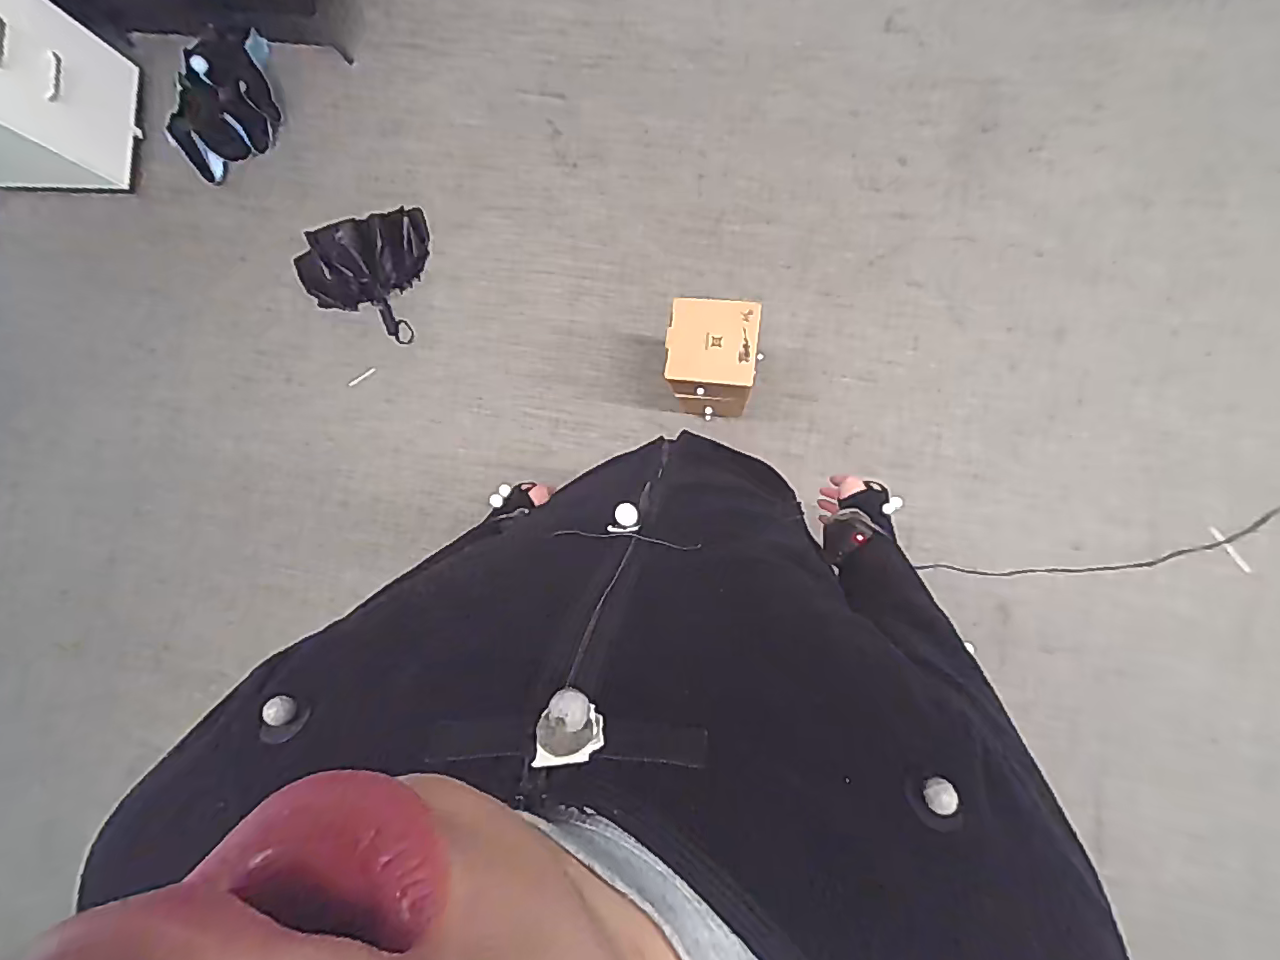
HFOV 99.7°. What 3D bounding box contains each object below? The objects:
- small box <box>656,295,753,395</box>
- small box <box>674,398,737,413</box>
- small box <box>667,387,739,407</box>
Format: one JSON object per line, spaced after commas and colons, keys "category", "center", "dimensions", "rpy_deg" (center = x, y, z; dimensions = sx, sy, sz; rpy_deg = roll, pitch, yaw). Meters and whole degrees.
{"category": "small box", "center": [0.139, -0.279, 1.146], "dimensions": [0.179, 0.176, 0.168], "rpy_deg": [7, 90, 9]}
{"category": "small box", "center": [0.185, -0.285, 1.470], "dimensions": [0.168, 0.176, 0.179], "rpy_deg": [5, 92, 8]}
{"category": "small box", "center": [0.161, -0.279, 1.307], "dimensions": [0.168, 0.176, 0.179], "rpy_deg": [5, 91, 8]}
